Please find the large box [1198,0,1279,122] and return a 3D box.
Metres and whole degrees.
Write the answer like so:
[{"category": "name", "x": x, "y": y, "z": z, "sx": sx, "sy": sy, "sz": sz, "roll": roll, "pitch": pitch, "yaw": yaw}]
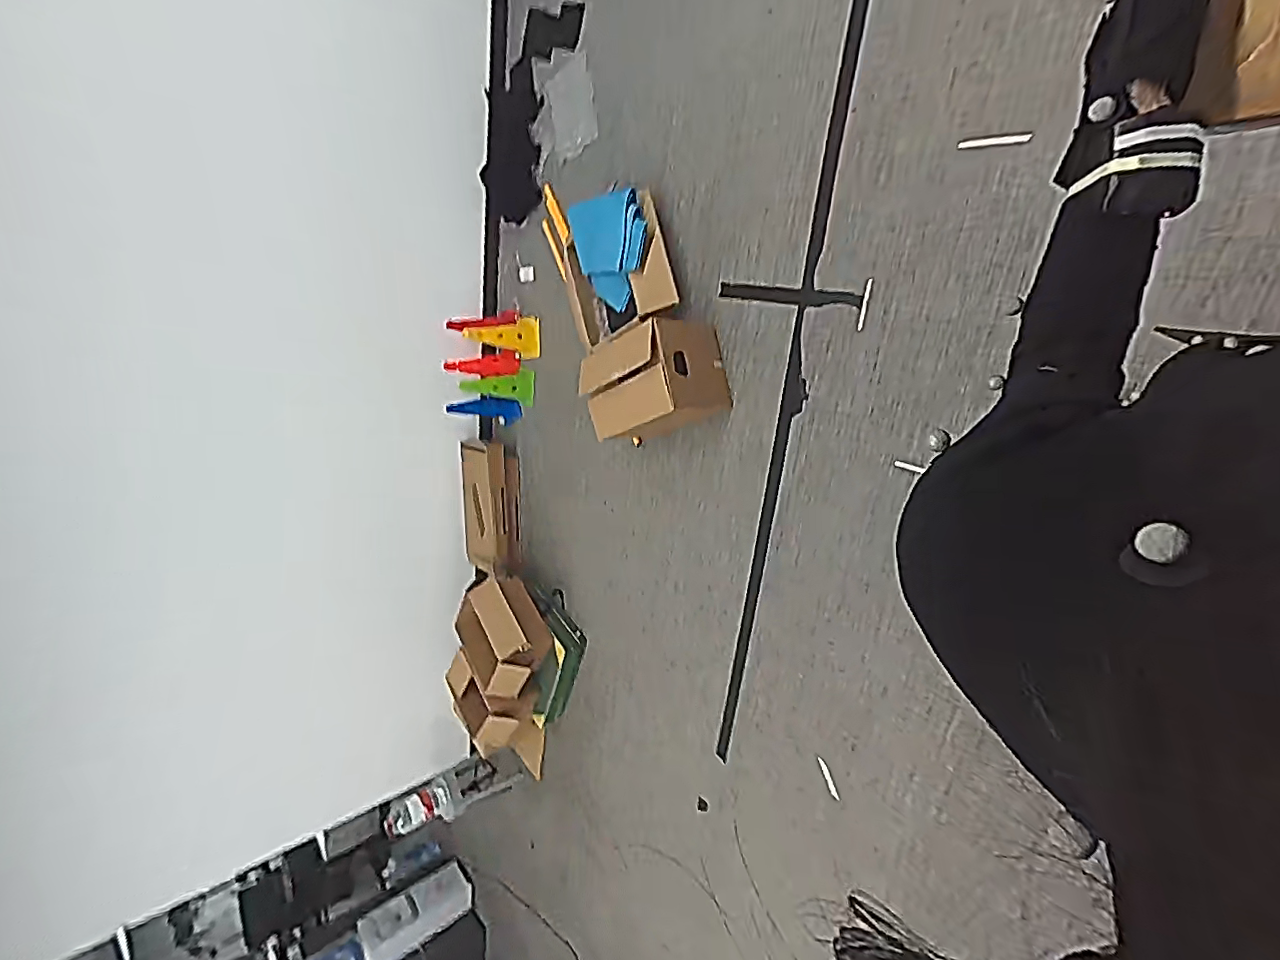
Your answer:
[{"category": "large box", "x": 0.644, "y": -0.443, "z": 0.316, "sx": 0.408, "sy": 0.320, "sz": 0.320, "roll": 15, "pitch": 123, "yaw": 41}]
